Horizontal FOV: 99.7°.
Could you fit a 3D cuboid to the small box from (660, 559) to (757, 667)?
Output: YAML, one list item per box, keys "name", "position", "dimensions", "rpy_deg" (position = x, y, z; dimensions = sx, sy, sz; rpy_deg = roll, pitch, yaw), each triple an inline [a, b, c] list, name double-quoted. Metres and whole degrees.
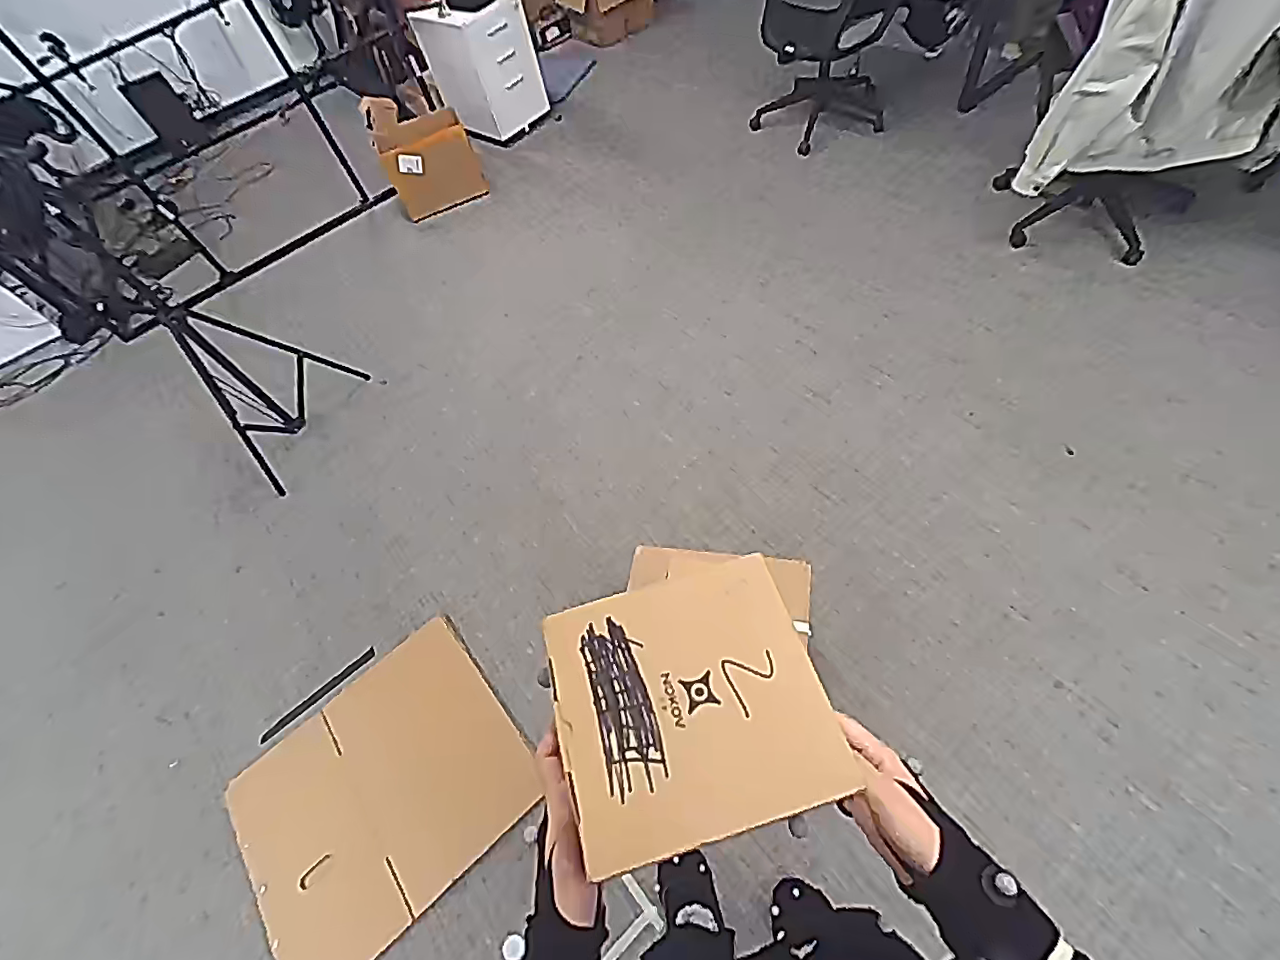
- name: "small box"
  position: [0.145, 0.274, 1.100]
  dimensions: [0.179, 0.176, 0.168]
  rpy_deg: [3, 60, 12]
